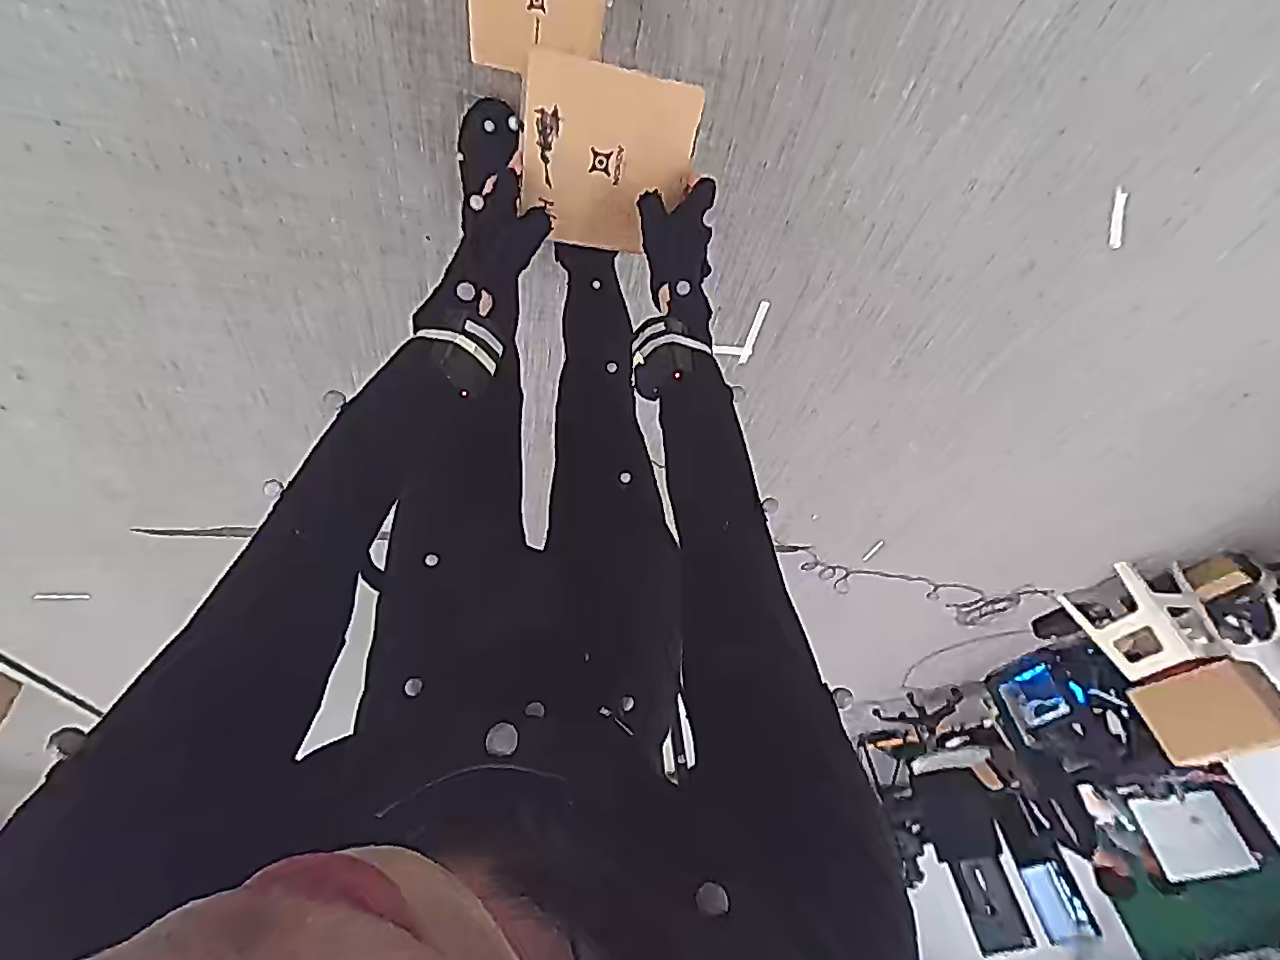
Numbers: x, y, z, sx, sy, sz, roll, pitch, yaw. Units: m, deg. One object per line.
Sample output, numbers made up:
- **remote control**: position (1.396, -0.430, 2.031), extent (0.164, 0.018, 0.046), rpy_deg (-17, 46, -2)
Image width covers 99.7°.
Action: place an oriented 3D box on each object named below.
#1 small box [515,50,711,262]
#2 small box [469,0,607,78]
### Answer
- **small box**: position (-0.045, -0.370, 0.618), extent (0.179, 0.176, 0.168), rpy_deg (3, 127, -17)
- **small box**: position (-0.131, -0.645, 0.700), extent (0.168, 0.176, 0.179), rpy_deg (3, 141, -13)
